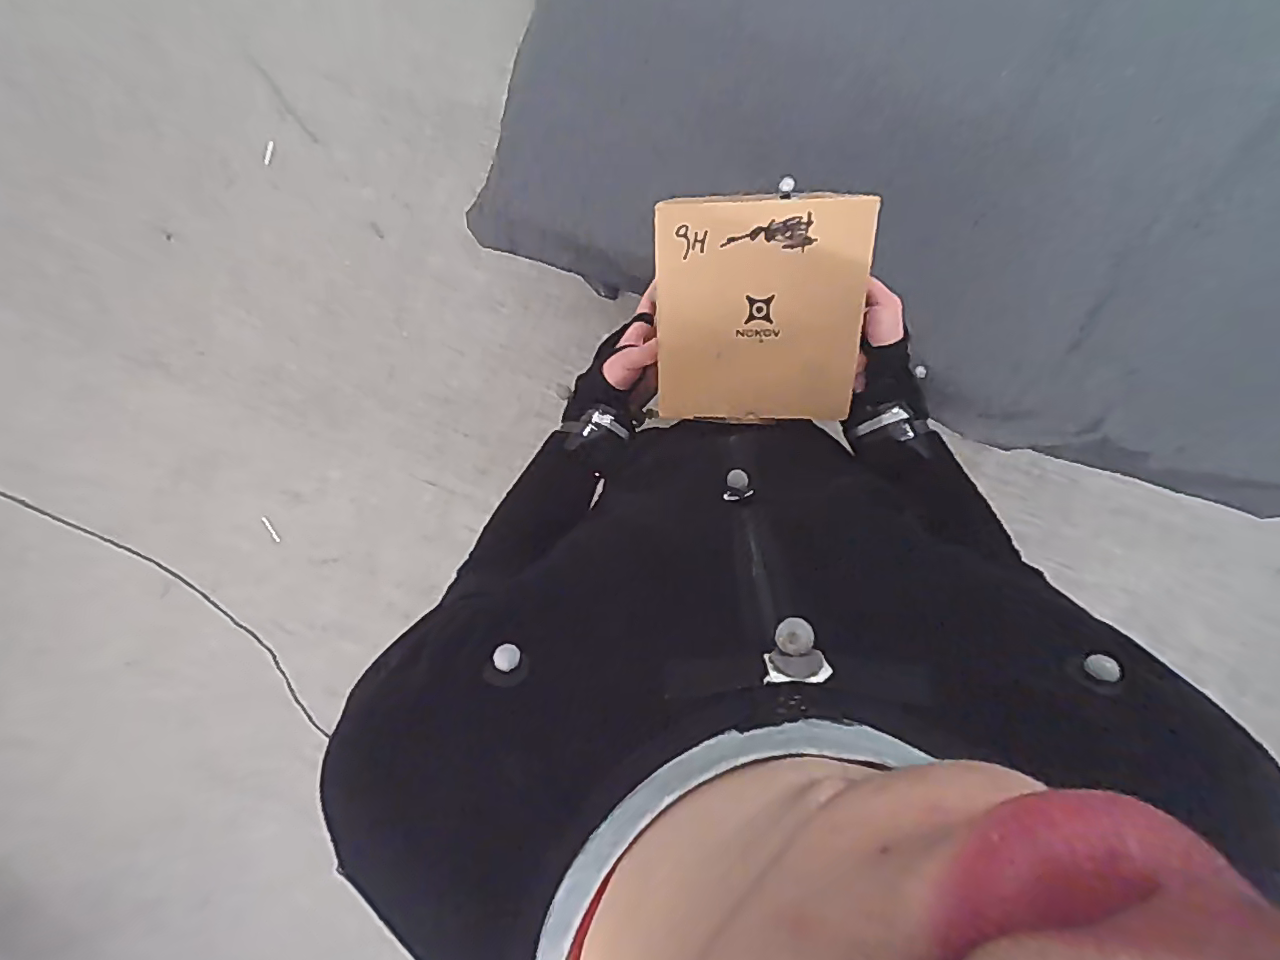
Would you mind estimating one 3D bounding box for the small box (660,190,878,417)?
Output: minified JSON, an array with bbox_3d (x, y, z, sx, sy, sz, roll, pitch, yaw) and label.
[{"bbox_3d":[0.108,-0.175,0.521,0.168,0.176,0.179,1,120,6],"label":"small box"}]
